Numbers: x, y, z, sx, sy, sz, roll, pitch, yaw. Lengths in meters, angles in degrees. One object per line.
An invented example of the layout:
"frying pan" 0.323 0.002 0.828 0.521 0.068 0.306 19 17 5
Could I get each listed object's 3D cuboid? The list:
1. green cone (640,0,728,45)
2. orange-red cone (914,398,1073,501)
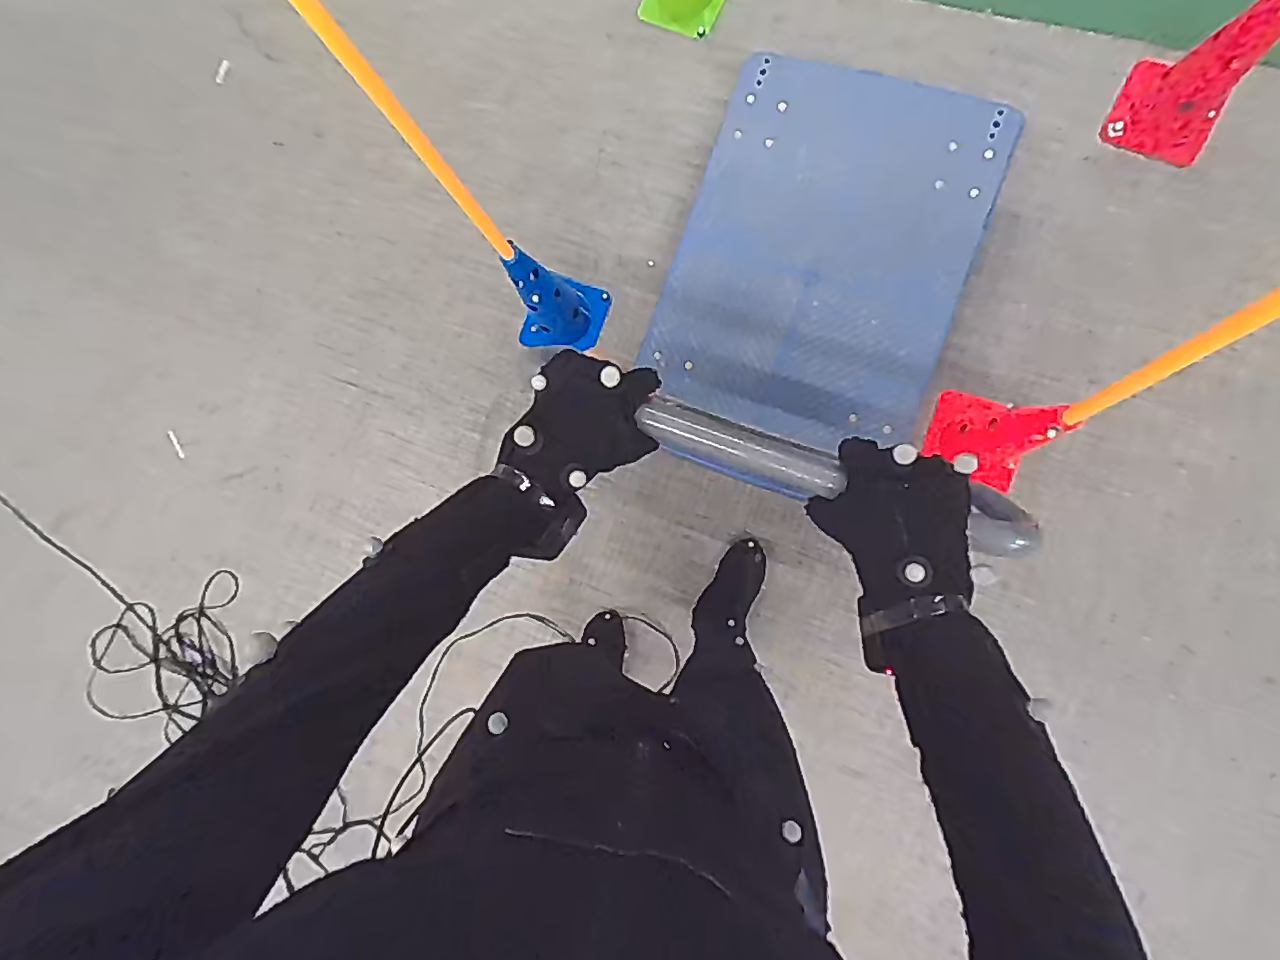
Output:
"green cone" 0.093 -1.234 1.212 0.202 0.368 0.200 26 90 10
"orange-red cone" 0.715 -0.081 1.055 0.199 0.360 0.198 21 90 11
